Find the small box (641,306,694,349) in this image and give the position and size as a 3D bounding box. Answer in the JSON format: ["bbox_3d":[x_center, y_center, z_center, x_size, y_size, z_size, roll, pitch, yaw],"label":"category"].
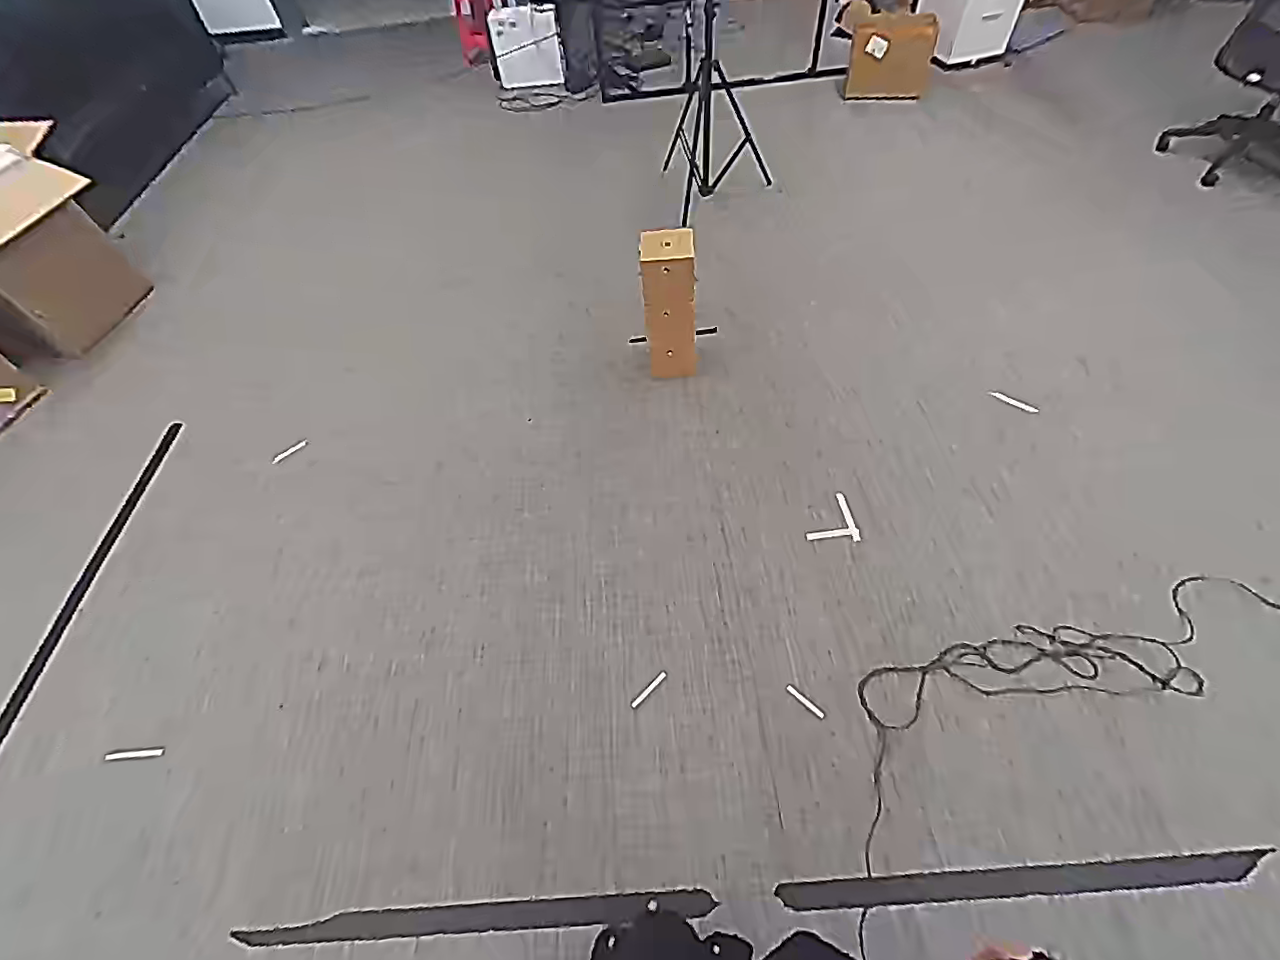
[{"bbox_3d":[0.102,-0.586,1.946,0.179,0.176,0.168,0,55,6],"label":"small box"}]

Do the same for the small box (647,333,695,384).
[{"bbox_3d":[0.118,-0.484,2.074,0.179,0.176,0.168,-2,54,4],"label":"small box"}]

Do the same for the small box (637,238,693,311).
[{"bbox_3d":[0.087,-0.687,1.820,0.179,0.176,0.168,-2,55,4],"label":"small box"}]
